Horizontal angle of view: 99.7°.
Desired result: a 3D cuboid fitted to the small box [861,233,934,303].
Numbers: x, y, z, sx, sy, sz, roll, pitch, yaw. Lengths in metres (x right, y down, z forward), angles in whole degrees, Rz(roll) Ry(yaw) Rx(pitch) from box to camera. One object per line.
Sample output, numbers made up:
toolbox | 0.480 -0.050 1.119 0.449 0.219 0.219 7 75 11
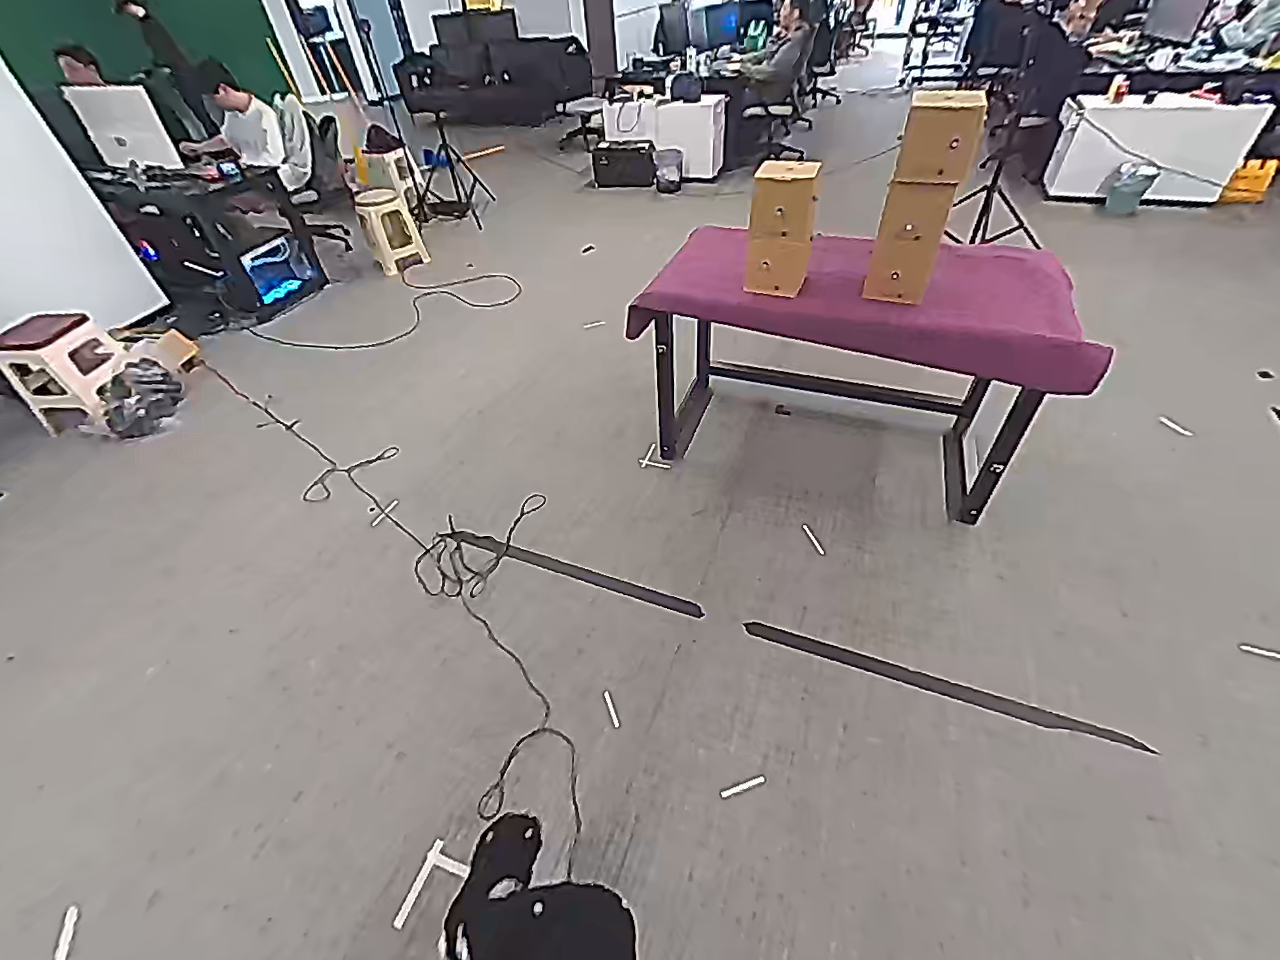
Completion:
small box | 0.770 -0.647 1.613 0.168 0.176 0.179 16 47 19

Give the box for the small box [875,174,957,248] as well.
small box | 0.765 -0.767 1.500 0.168 0.176 0.179 15 48 20

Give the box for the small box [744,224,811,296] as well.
small box | 0.426 -0.691 1.689 0.168 0.176 0.179 14 46 18

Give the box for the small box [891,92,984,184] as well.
small box | 0.749 -0.868 1.373 0.168 0.176 0.179 13 46 17

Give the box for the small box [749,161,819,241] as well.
small box | 0.418 -0.814 1.581 0.168 0.176 0.179 12 46 16
